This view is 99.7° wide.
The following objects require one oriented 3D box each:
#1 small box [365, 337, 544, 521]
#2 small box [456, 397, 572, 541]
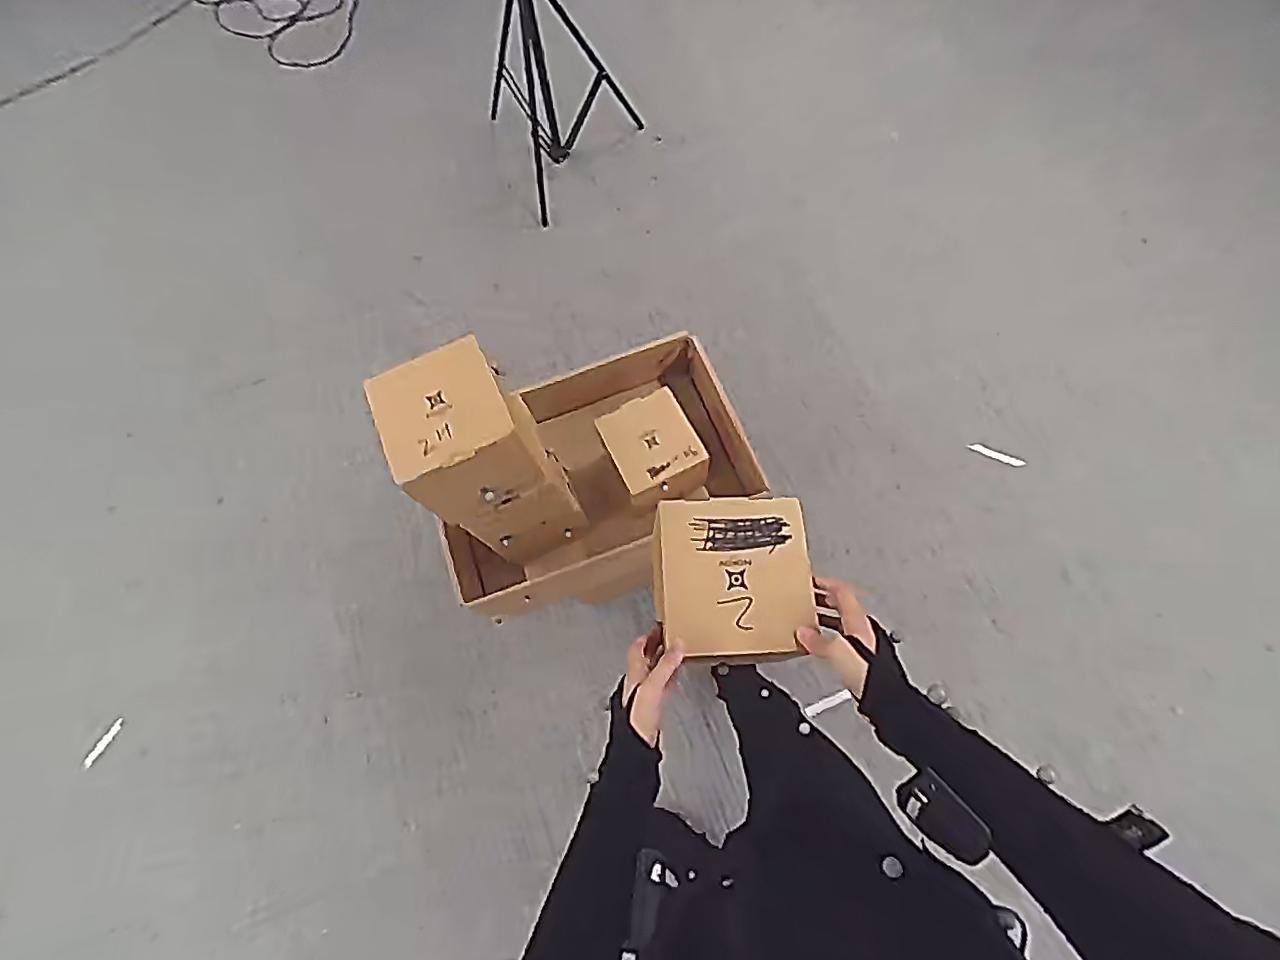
[{"bbox_3d":[-0.258,-0.065,0.782,0.168,0.176,0.179,-26,69,-5],"label":"small box"},{"bbox_3d":[-0.232,-0.007,0.935,0.168,0.176,0.179,-24,69,-5],"label":"small box"}]
